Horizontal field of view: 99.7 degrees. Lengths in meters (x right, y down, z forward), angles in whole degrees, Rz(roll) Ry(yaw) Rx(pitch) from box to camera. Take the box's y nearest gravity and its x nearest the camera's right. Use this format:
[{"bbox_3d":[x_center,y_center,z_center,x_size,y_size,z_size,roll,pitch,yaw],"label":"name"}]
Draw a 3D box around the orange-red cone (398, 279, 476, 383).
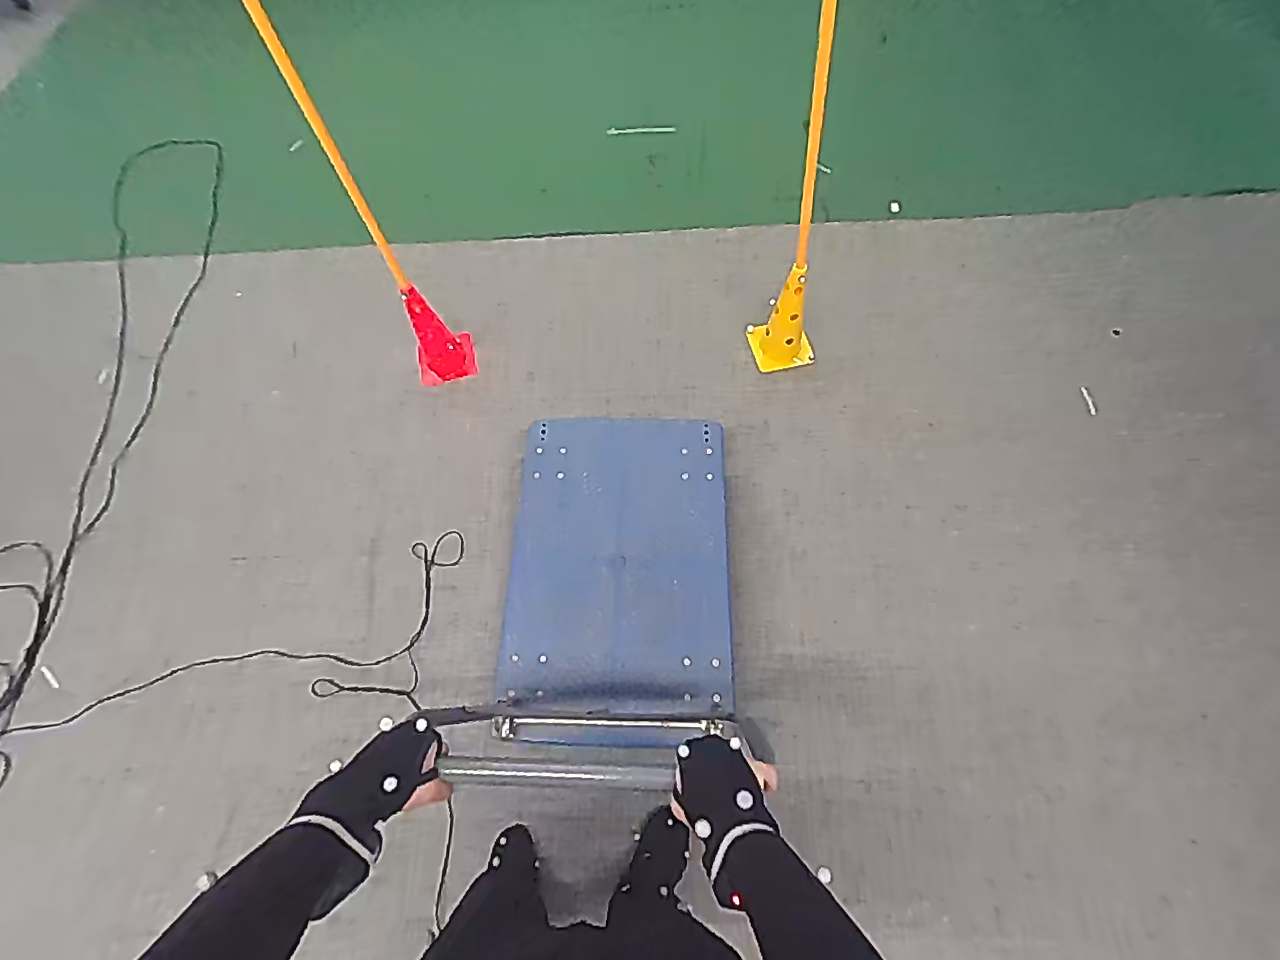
[{"bbox_3d":[-0.701,-0.513,1.781,0.199,0.360,0.198,-15,64,-3],"label":"orange-red cone"}]
